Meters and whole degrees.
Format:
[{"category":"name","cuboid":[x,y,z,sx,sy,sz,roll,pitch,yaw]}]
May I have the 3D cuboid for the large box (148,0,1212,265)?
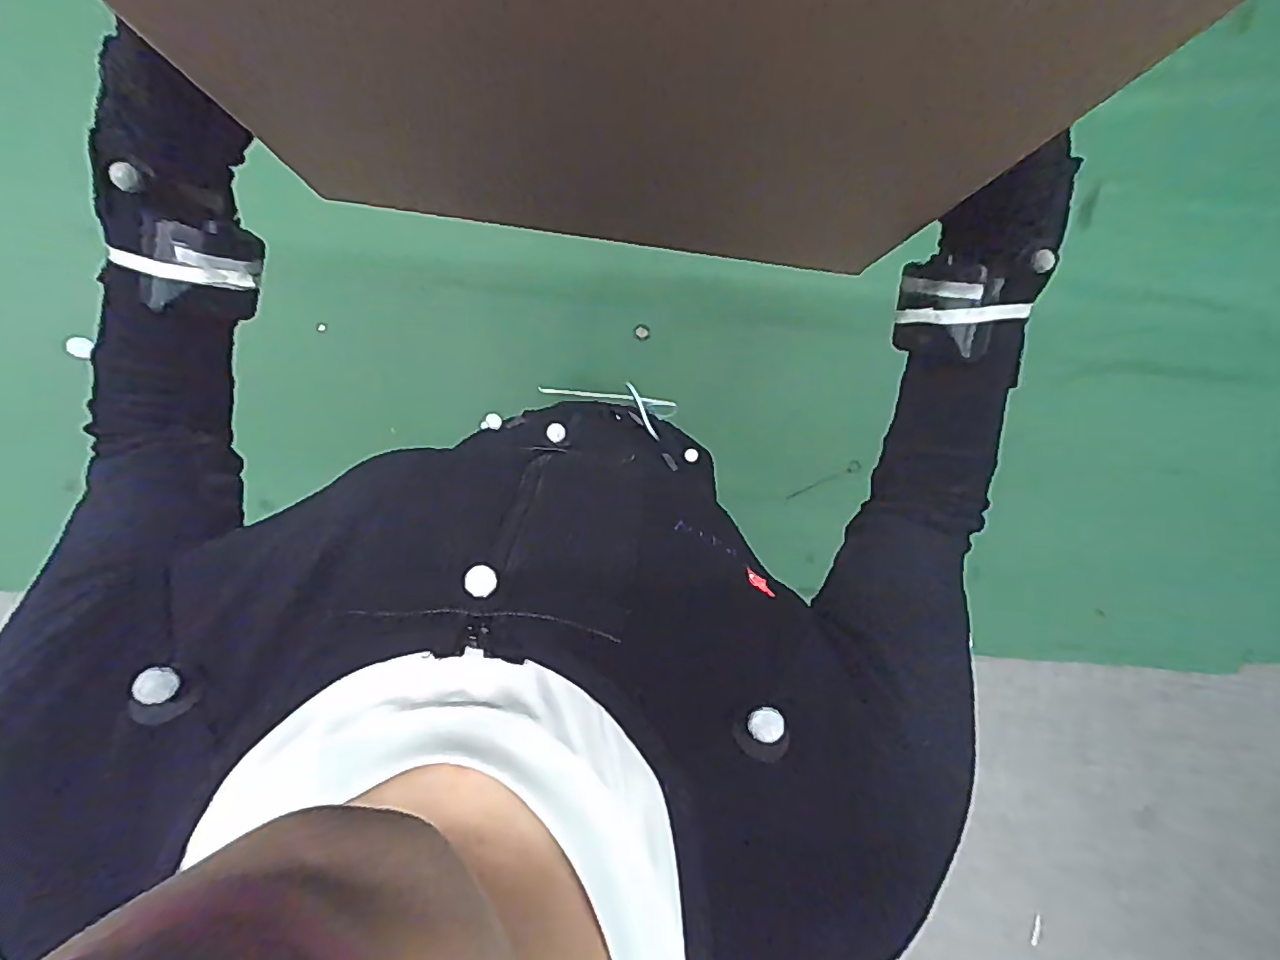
[{"category":"large box","cuboid":[0.002,-0.328,0.249,0.408,0.320,0.320,7,93,-5]}]
